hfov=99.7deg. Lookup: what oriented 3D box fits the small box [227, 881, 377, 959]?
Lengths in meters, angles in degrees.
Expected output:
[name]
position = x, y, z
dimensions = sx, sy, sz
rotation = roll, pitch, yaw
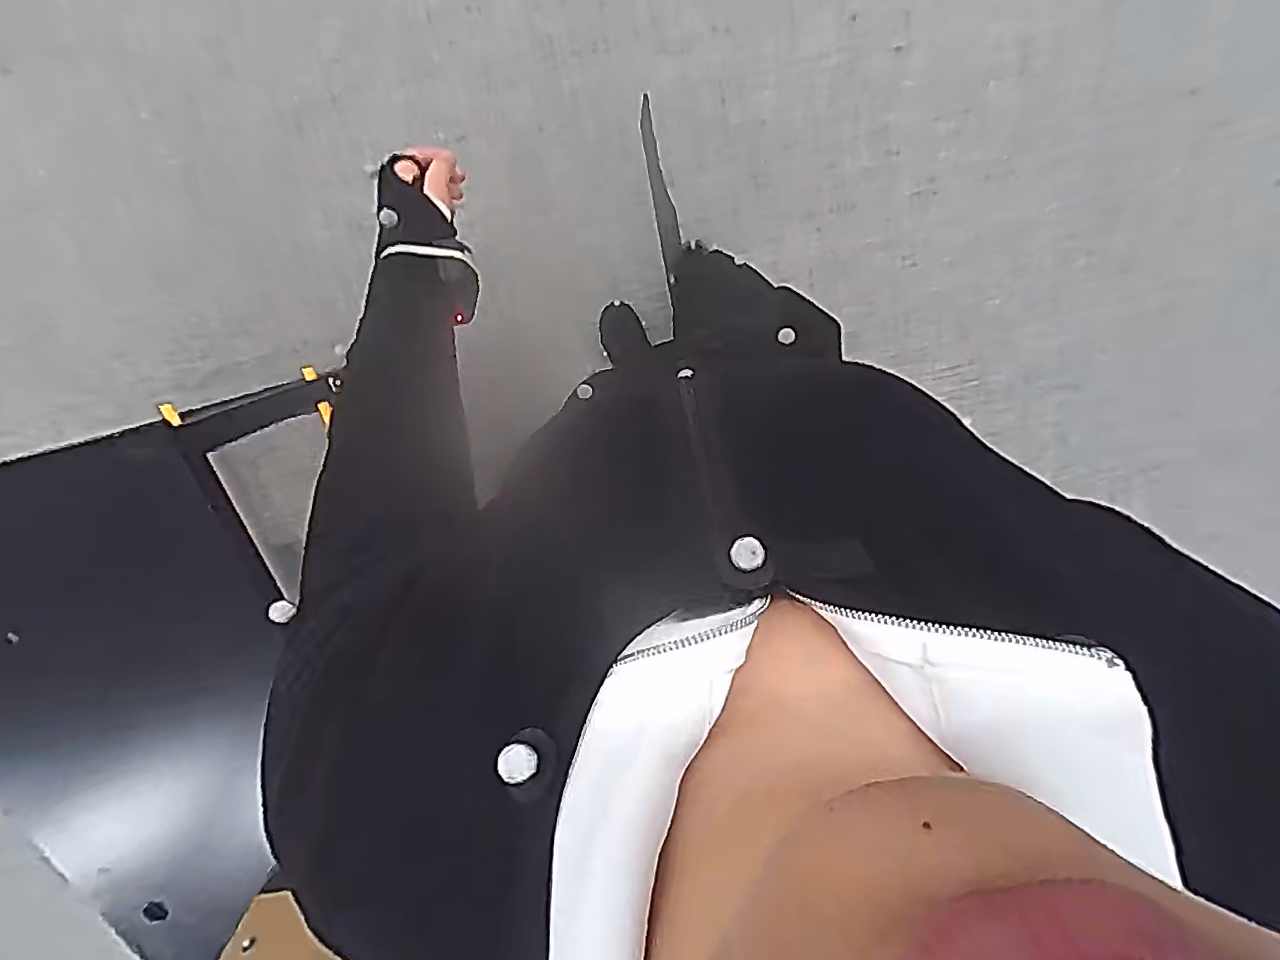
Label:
[small box]
position = -0.610, 0.865, 0.967
dimensions = 0.179, 0.176, 0.168
rotation = -11, 111, 1
